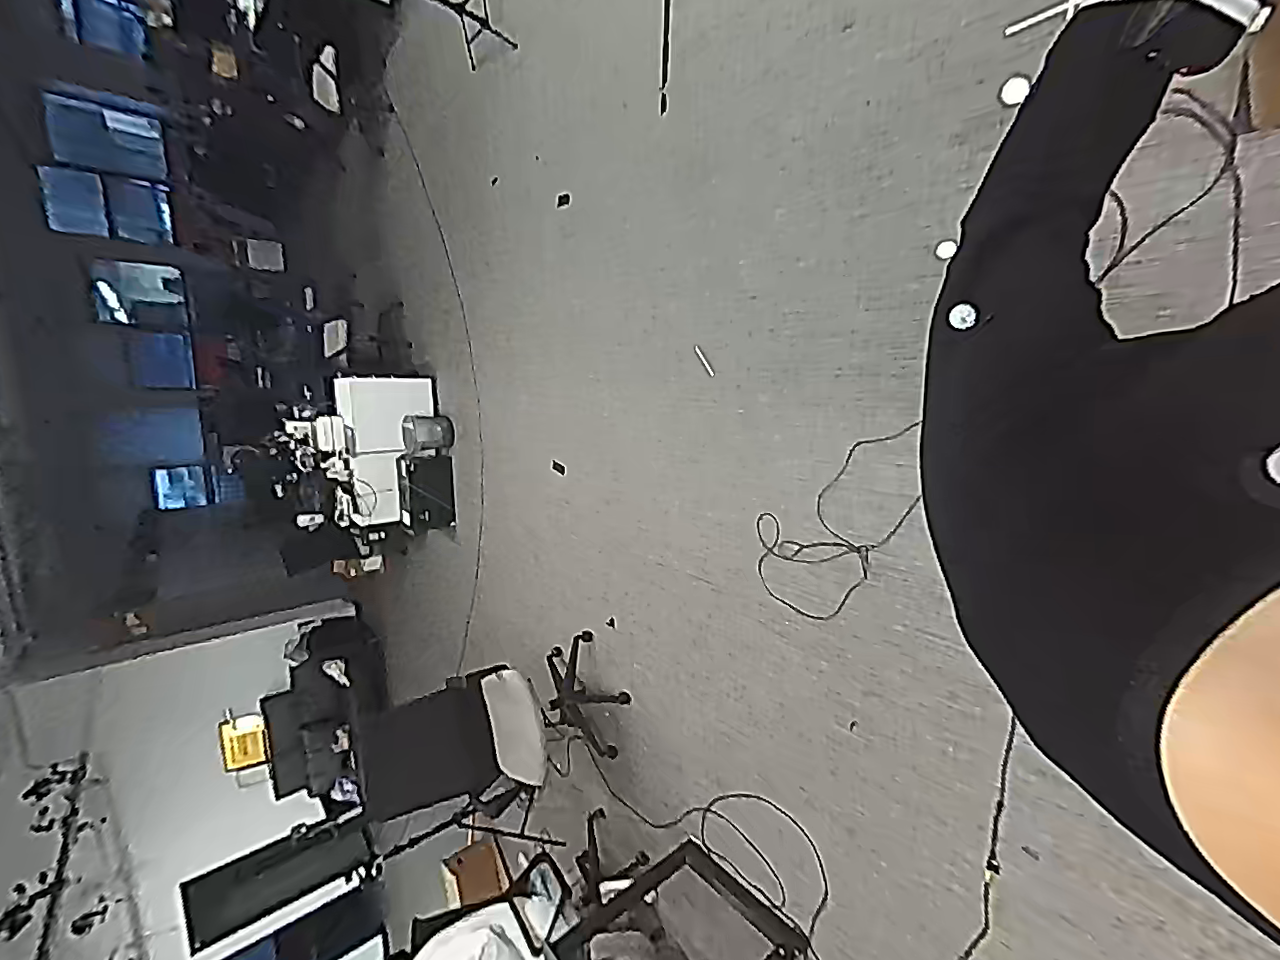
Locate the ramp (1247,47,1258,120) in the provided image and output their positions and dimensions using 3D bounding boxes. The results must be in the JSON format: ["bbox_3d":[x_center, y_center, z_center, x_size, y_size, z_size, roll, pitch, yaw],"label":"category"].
[{"bbox_3d":[1.185,-1.084,0.653,0.509,0.206,0.991,9,103,48],"label":"ramp"}]

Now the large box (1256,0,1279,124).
[{"bbox_3d":[0.602,-0.412,0.227,0.408,0.320,0.320,22,111,45],"label":"large box"}]
